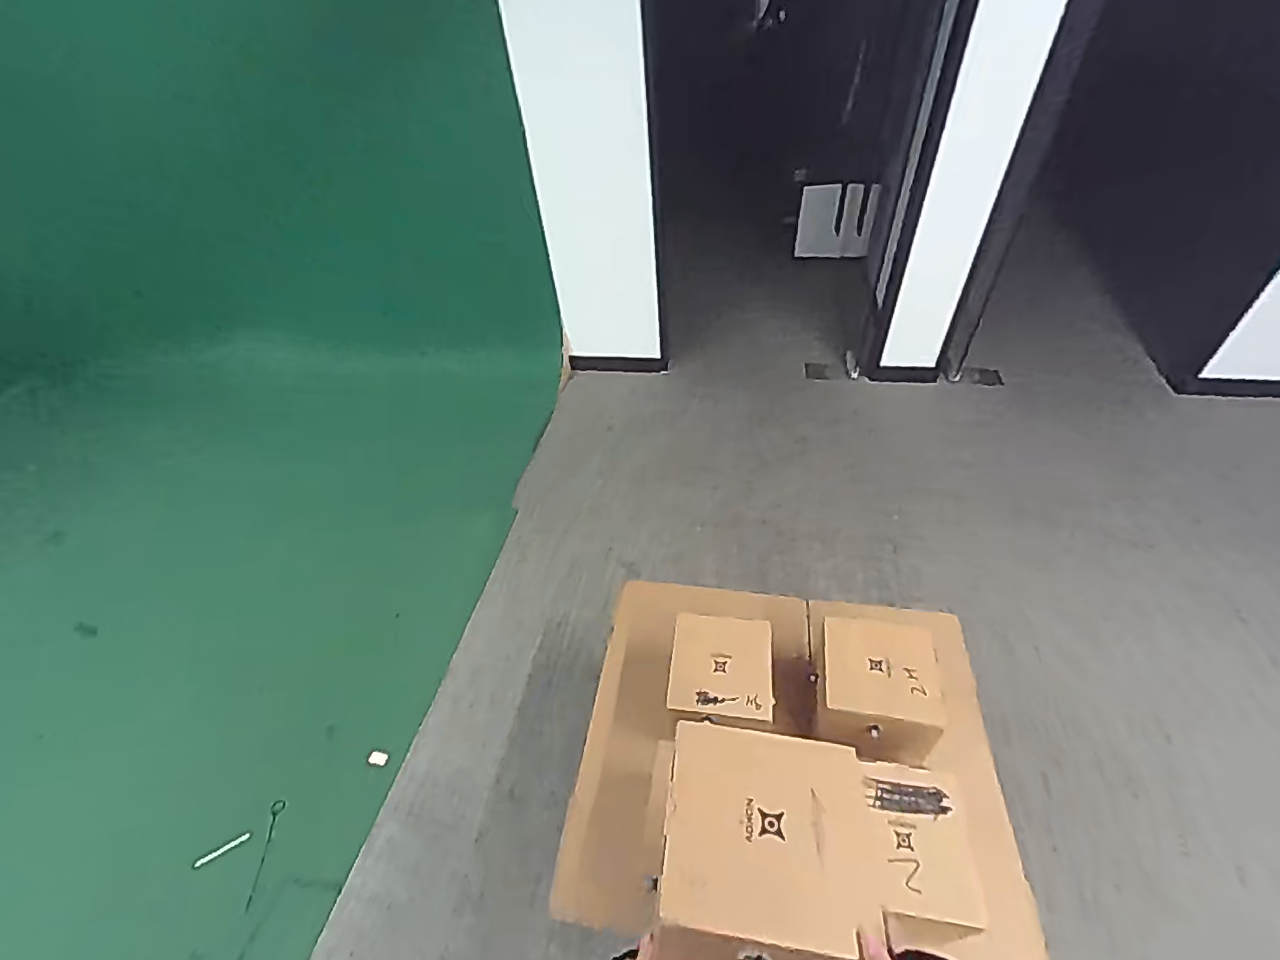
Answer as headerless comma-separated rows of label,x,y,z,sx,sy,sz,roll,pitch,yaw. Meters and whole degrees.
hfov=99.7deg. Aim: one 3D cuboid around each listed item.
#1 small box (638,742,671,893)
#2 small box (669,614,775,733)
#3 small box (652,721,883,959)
small box,0.102,0.518,0.792,0.168,0.176,0.179,4,45,12
small box,0.145,0.361,0.944,0.168,0.176,0.179,2,44,11
small box,0.108,0.362,0.515,0.179,0.176,0.168,6,36,8
